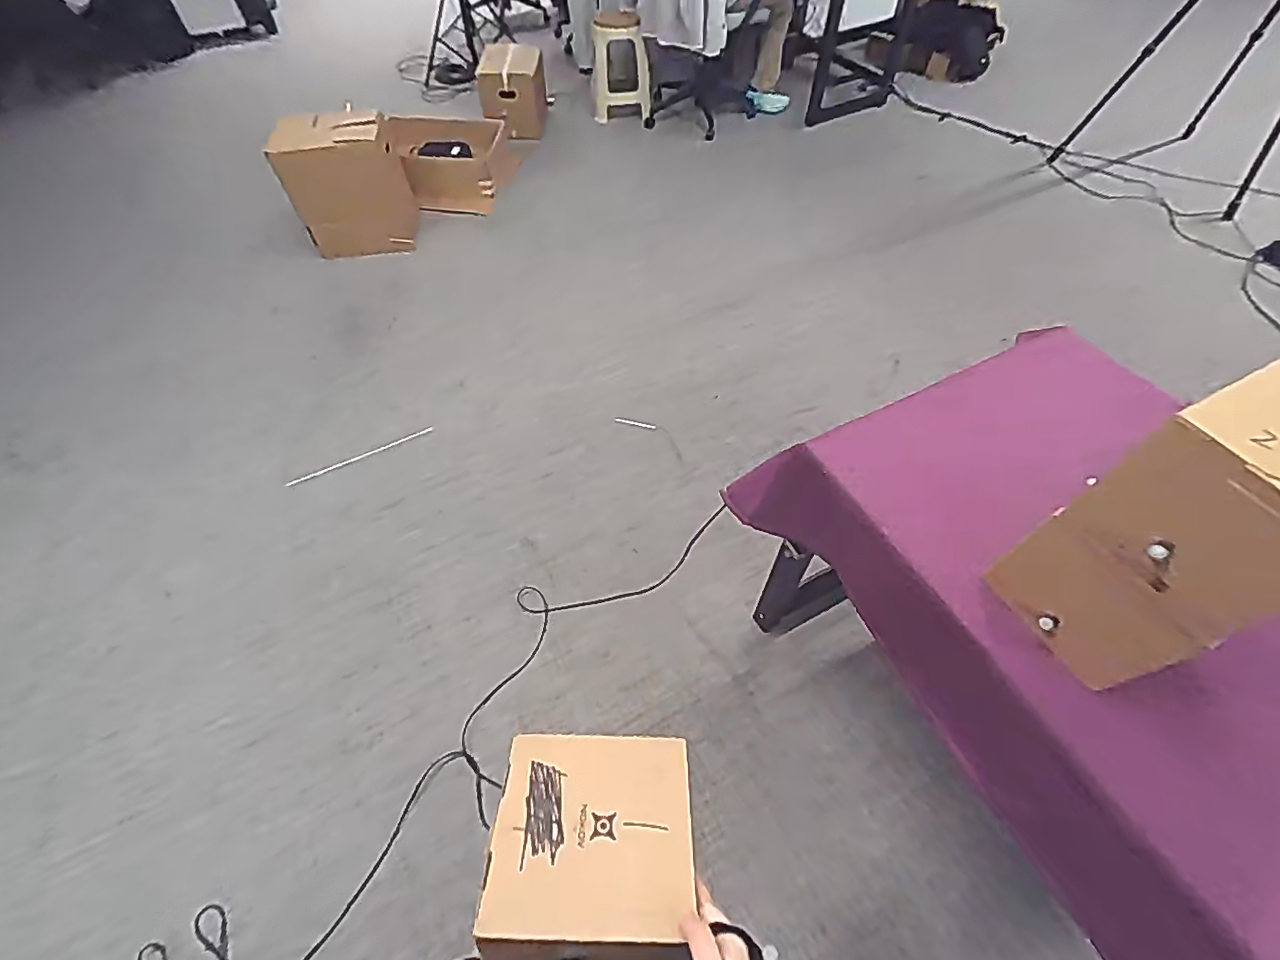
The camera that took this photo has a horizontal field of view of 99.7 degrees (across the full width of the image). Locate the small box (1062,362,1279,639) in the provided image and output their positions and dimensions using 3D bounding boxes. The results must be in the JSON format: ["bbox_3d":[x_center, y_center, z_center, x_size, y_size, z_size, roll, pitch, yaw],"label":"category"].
[{"bbox_3d":[0.568,0.022,0.515,0.179,0.176,0.168,-23,58,-14],"label":"small box"}]

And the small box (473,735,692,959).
[{"bbox_3d":[-0.047,0.376,0.532,0.179,0.176,0.168,2,34,-2],"label":"small box"}]

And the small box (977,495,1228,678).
[{"bbox_3d":[0.564,0.117,0.650,0.168,0.176,0.179,-24,59,-16],"label":"small box"}]
